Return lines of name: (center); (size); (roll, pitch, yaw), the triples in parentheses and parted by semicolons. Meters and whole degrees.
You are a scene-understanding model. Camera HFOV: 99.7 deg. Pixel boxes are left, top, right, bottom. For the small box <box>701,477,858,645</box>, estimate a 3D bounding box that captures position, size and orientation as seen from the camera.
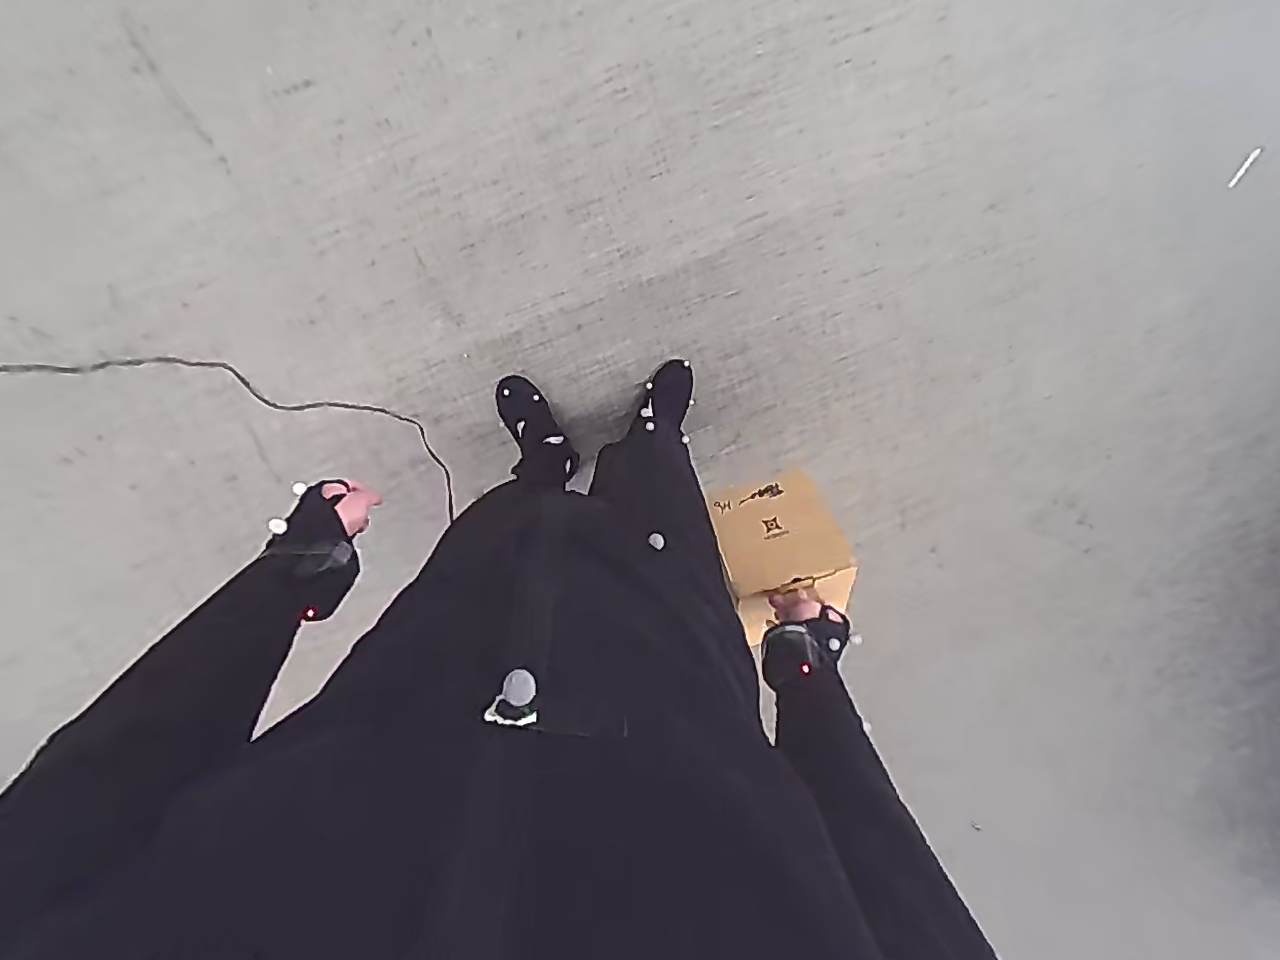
small box: (0.206, 0.131, 0.820); (0.168, 0.179, 0.176); (-20, 141, -1)
